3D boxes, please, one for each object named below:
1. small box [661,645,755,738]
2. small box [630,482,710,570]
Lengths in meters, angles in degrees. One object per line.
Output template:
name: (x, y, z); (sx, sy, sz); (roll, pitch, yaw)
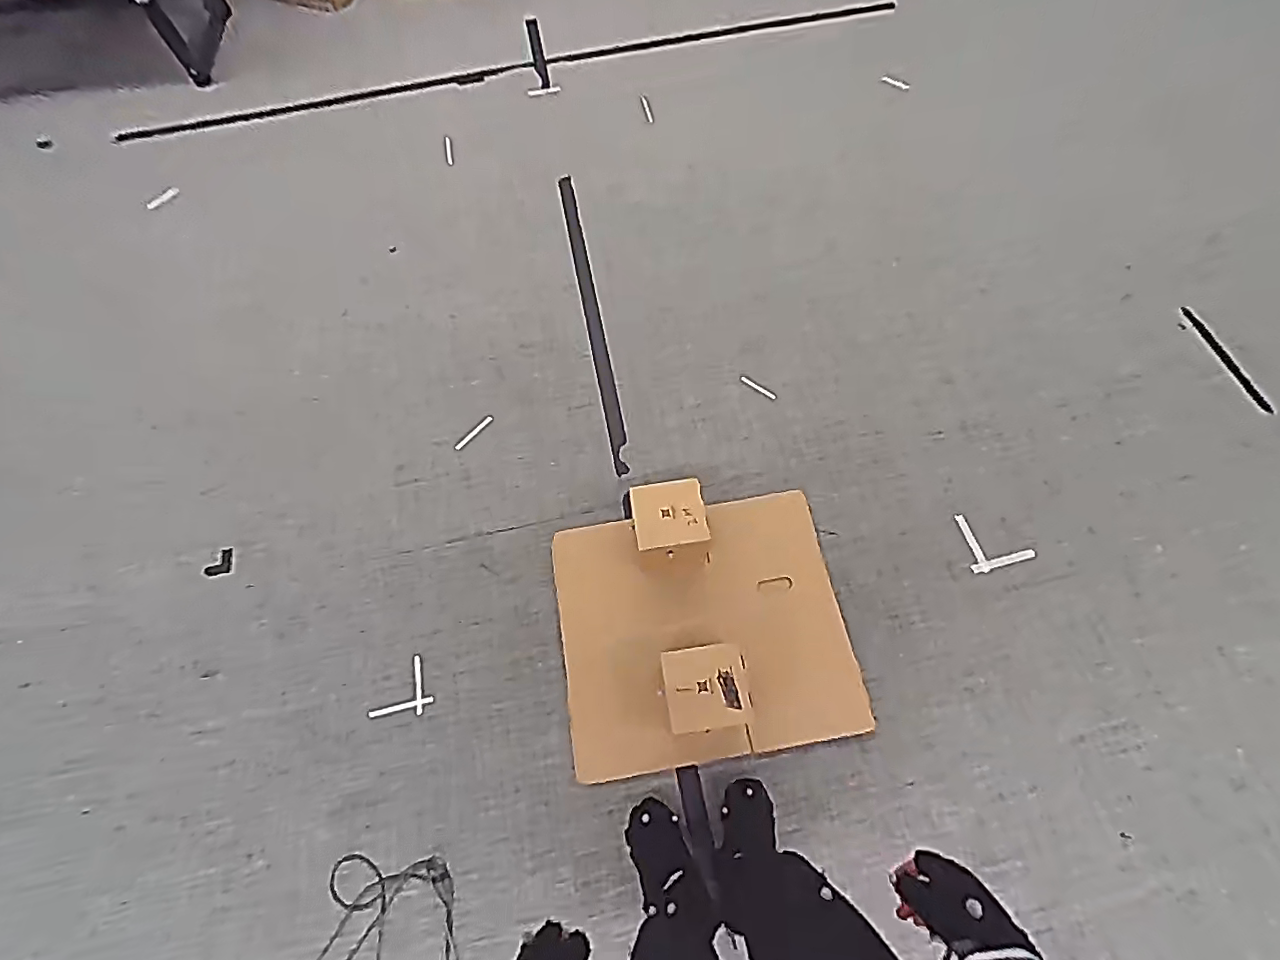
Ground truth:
small box: (0.143, 0.473, 1.212); (0.179, 0.176, 0.168); (-8, 66, -2)
small box: (0.073, 0.122, 1.371); (0.179, 0.176, 0.168); (-8, 66, -2)
